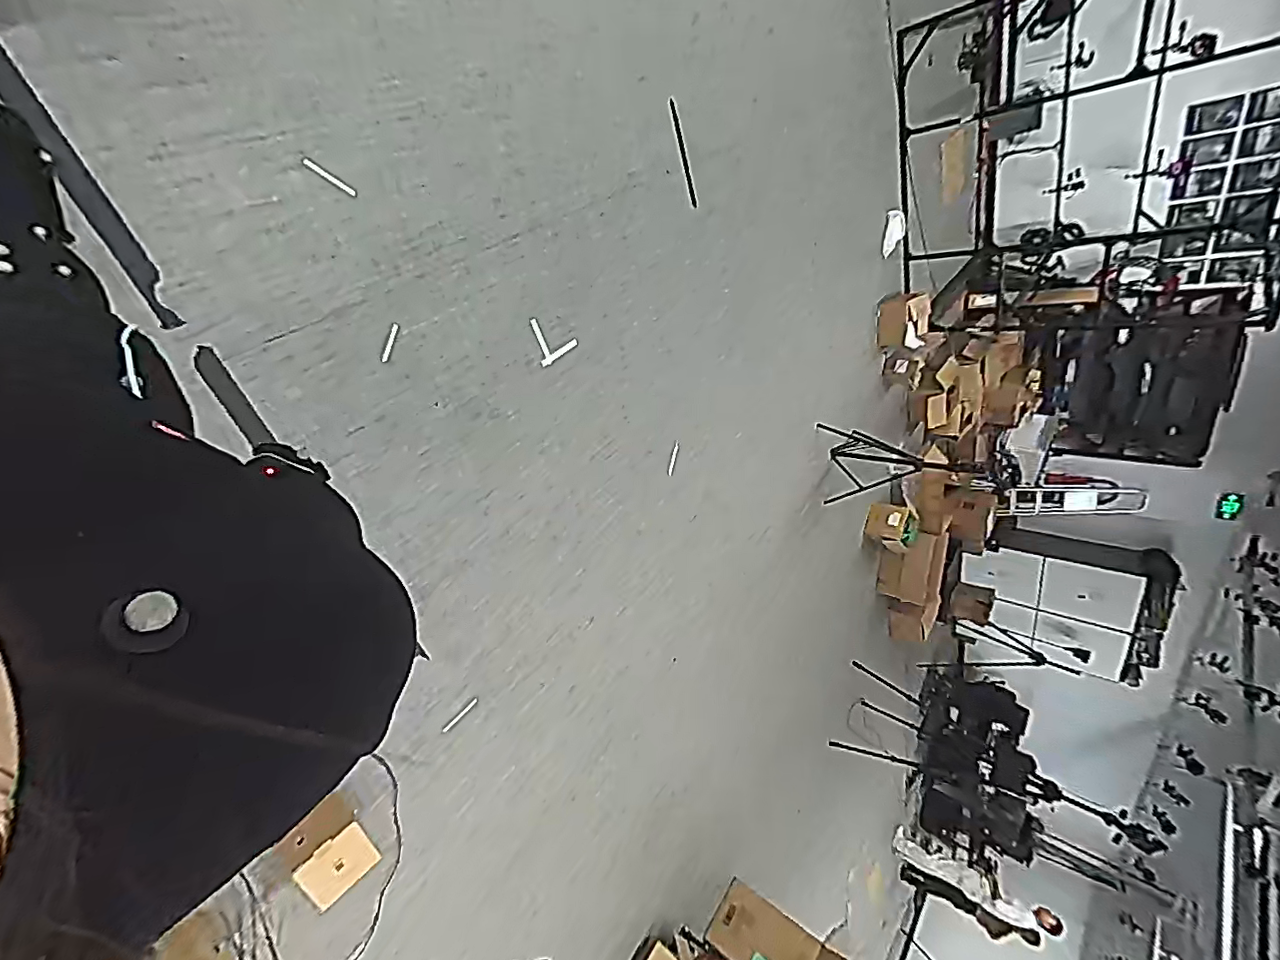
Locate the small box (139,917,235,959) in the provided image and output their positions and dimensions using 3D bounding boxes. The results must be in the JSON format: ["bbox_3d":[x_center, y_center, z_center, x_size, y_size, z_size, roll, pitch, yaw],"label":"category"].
[{"bbox_3d":[-1.077,1.188,1.266,0.179,0.176,0.168,-38,125,-36],"label":"small box"}]

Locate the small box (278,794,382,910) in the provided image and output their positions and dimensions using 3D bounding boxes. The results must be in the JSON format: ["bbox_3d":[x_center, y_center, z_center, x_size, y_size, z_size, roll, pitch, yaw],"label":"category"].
[{"bbox_3d":[-0.848,1.000,1.474,0.168,0.176,0.179,-34,124,-37],"label":"small box"}]
